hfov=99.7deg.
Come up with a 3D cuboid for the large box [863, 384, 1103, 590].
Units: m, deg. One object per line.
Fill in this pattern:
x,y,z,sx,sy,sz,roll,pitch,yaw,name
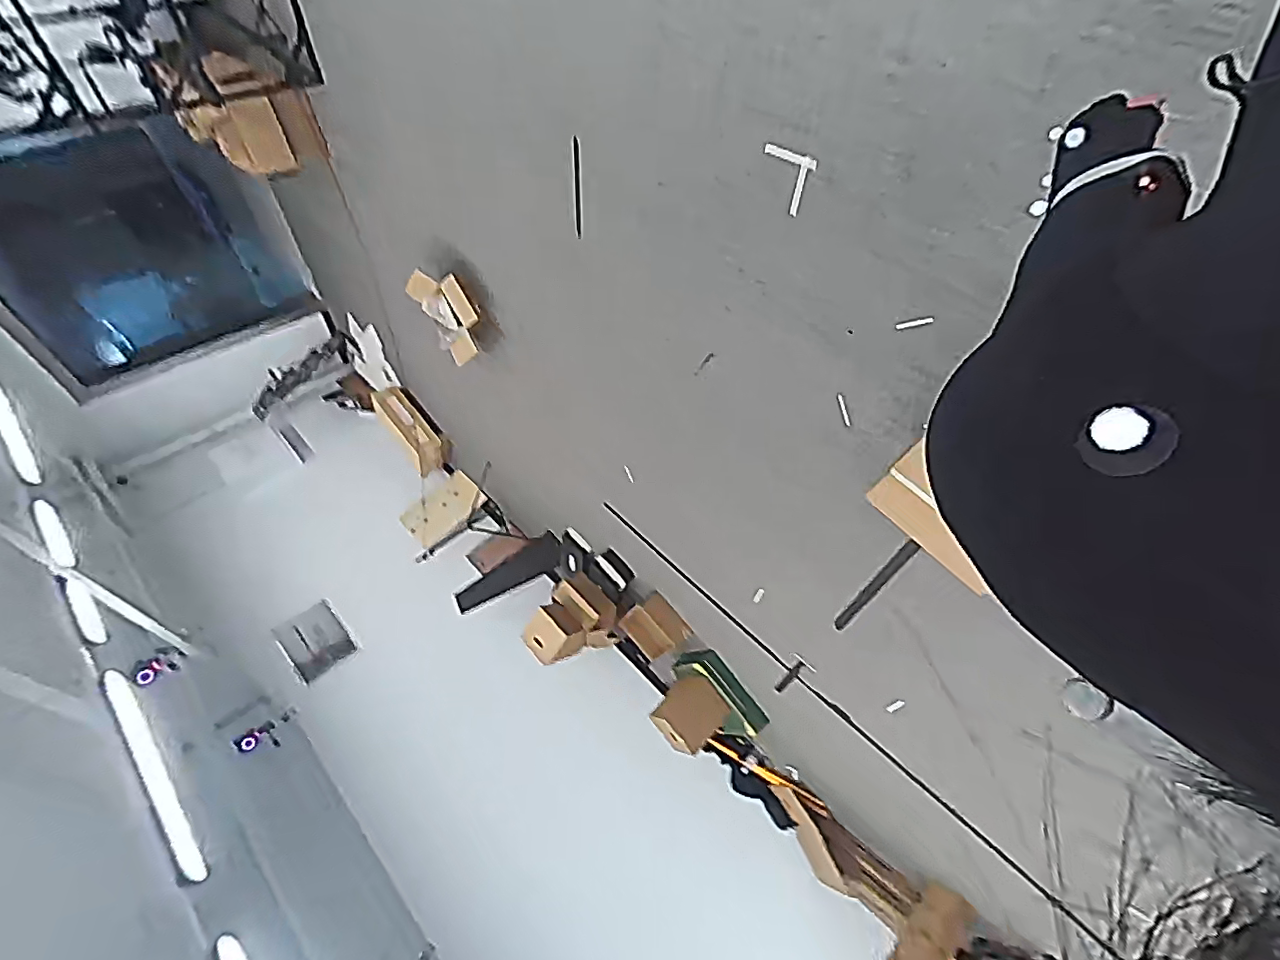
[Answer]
0.923,0.014,1.487,0.408,0.320,0.320,44,151,16,large box
